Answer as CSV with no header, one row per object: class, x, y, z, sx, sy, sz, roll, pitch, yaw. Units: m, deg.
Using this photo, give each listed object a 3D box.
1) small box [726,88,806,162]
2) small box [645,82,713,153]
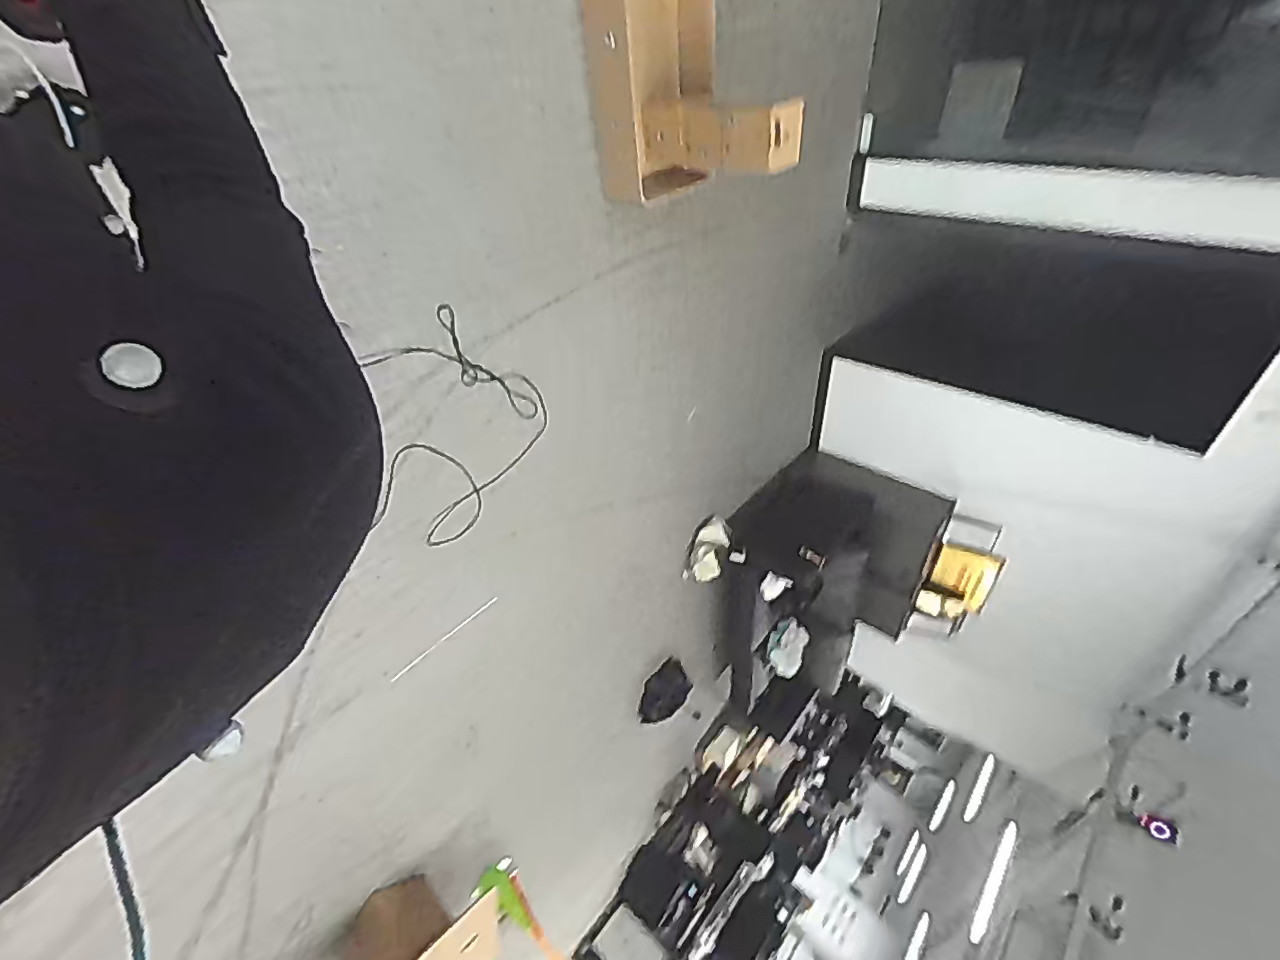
small box,0.371,-1.064,1.619,0.179,0.176,0.168,-38,140,-32
small box,0.131,-1.203,1.798,0.179,0.176,0.168,-42,140,-28
